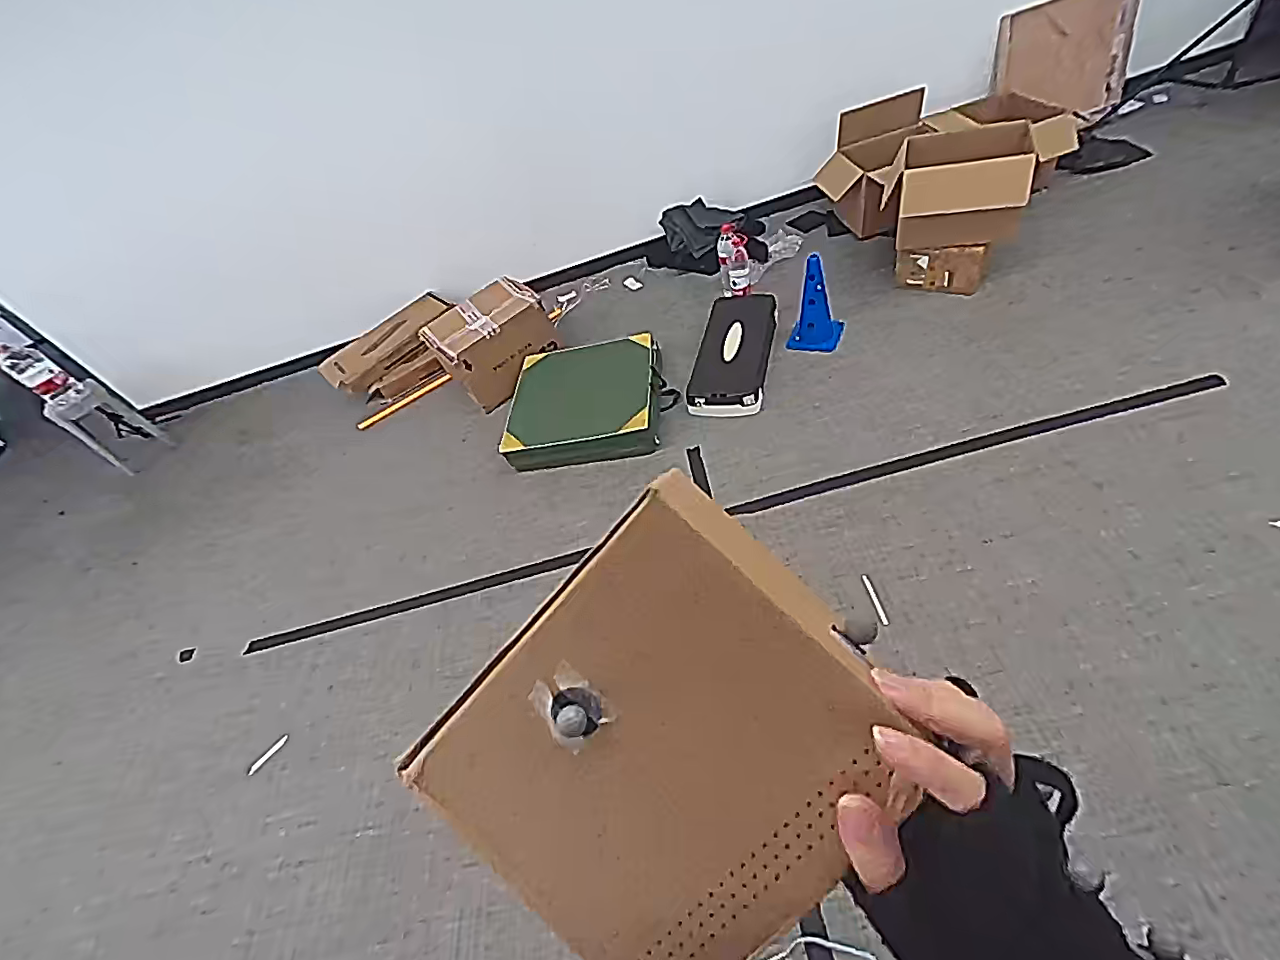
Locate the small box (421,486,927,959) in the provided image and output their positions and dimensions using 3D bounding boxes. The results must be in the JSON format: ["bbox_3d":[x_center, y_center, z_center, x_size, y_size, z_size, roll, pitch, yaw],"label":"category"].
[{"bbox_3d":[0.021,0.126,0.319,0.176,0.168,0.179,43,96,2],"label":"small box"}]
